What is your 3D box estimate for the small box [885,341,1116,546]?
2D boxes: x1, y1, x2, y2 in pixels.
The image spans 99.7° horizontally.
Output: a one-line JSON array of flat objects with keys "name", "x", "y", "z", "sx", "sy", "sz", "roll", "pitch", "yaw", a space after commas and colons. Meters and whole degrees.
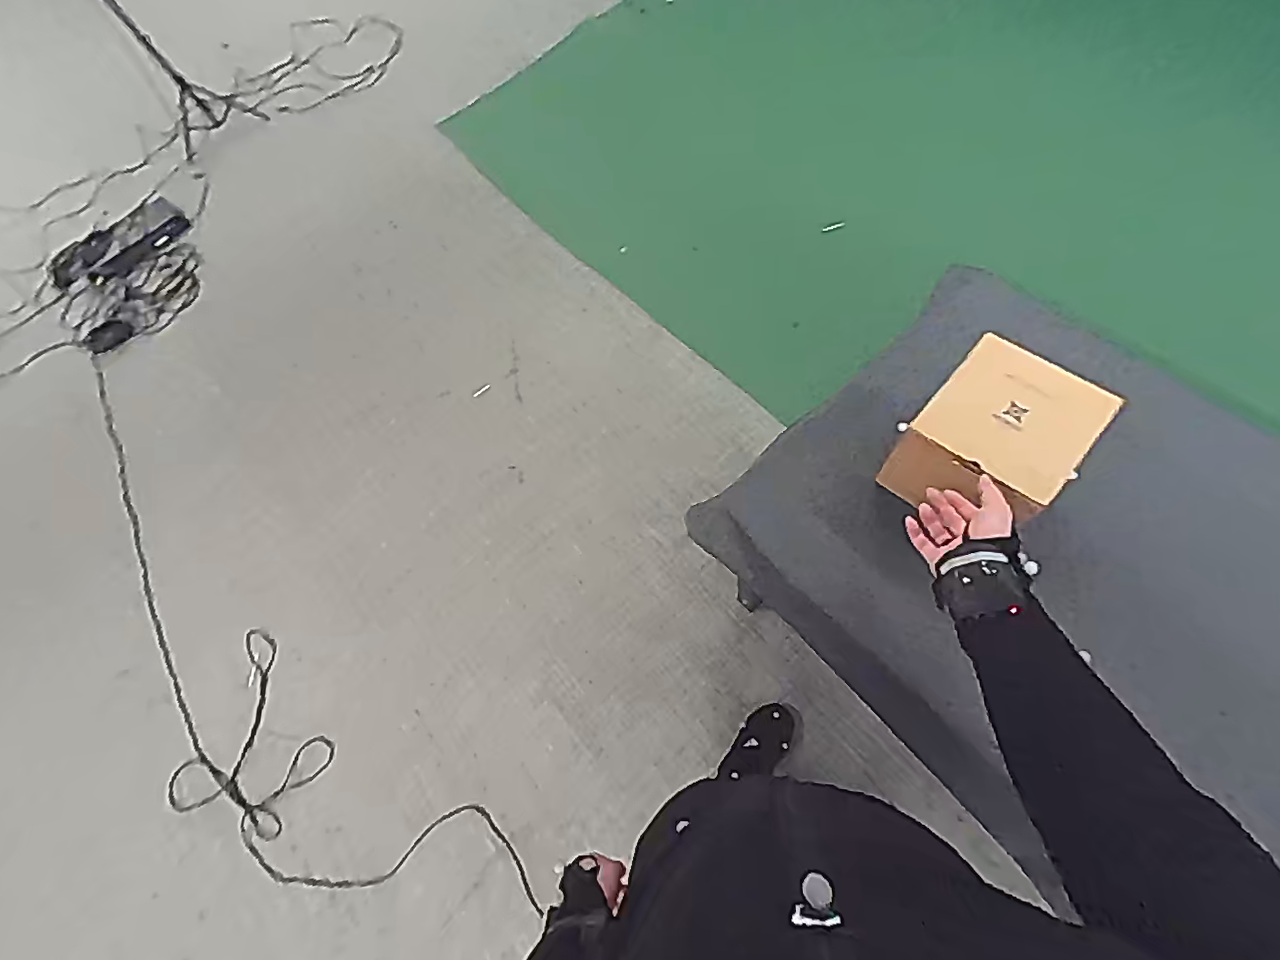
[{"name": "small box", "x": 0.452, "y": -0.039, "z": 0.713, "sx": 0.168, "sy": 0.176, "sz": 0.179, "roll": 39, "pitch": 77, "yaw": 20}]
